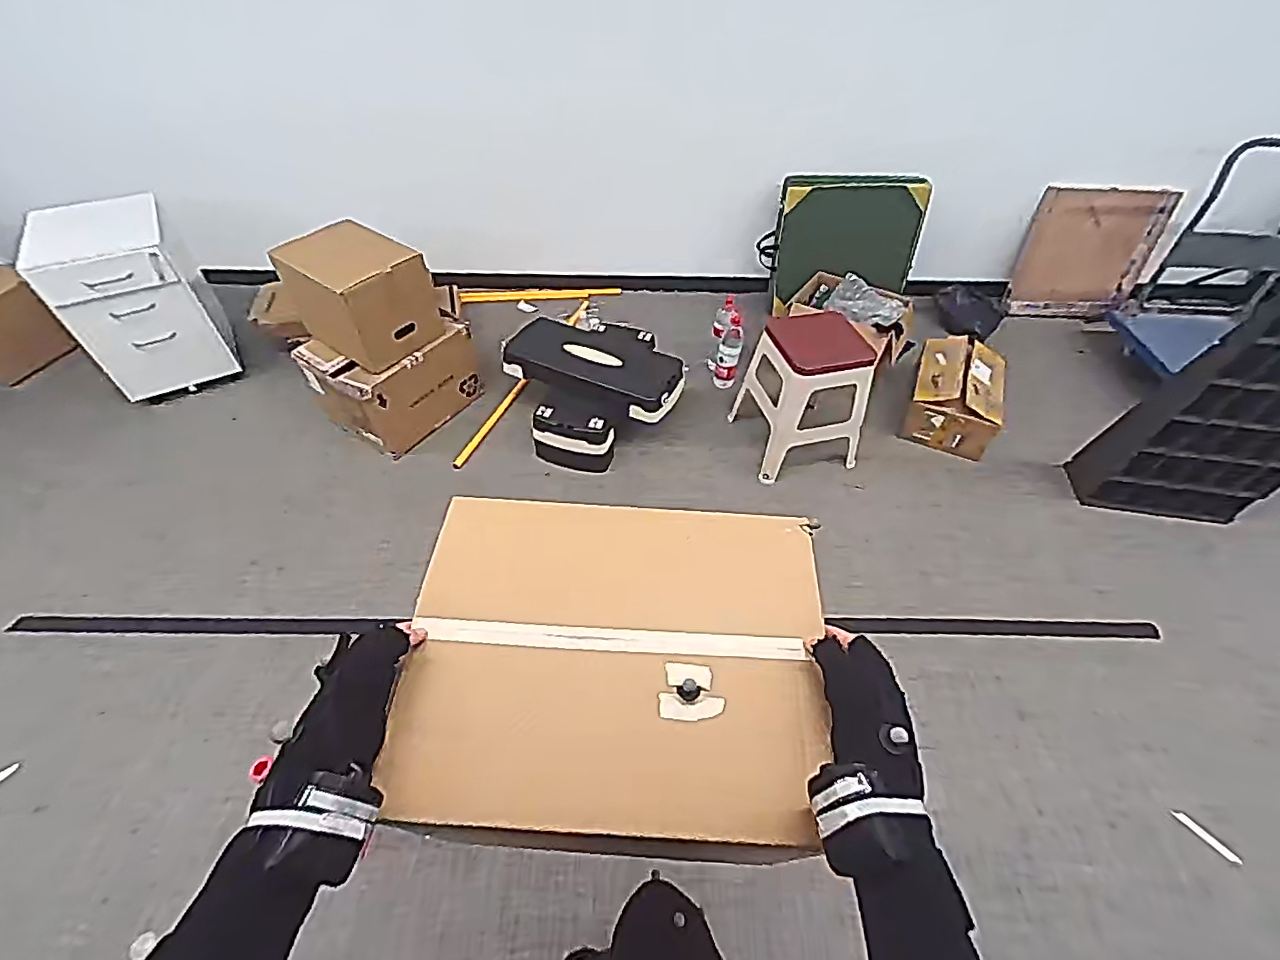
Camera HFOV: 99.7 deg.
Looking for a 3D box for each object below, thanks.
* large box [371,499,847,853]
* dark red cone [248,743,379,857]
[{"bbox_3d":[-0.026,0.244,0.650,0.408,0.320,0.320,4,53,0],"label":"large box"},{"bbox_3d":[-0.701,0.632,1.125,0.201,0.394,0.202,6,49,3],"label":"dark red cone"}]
